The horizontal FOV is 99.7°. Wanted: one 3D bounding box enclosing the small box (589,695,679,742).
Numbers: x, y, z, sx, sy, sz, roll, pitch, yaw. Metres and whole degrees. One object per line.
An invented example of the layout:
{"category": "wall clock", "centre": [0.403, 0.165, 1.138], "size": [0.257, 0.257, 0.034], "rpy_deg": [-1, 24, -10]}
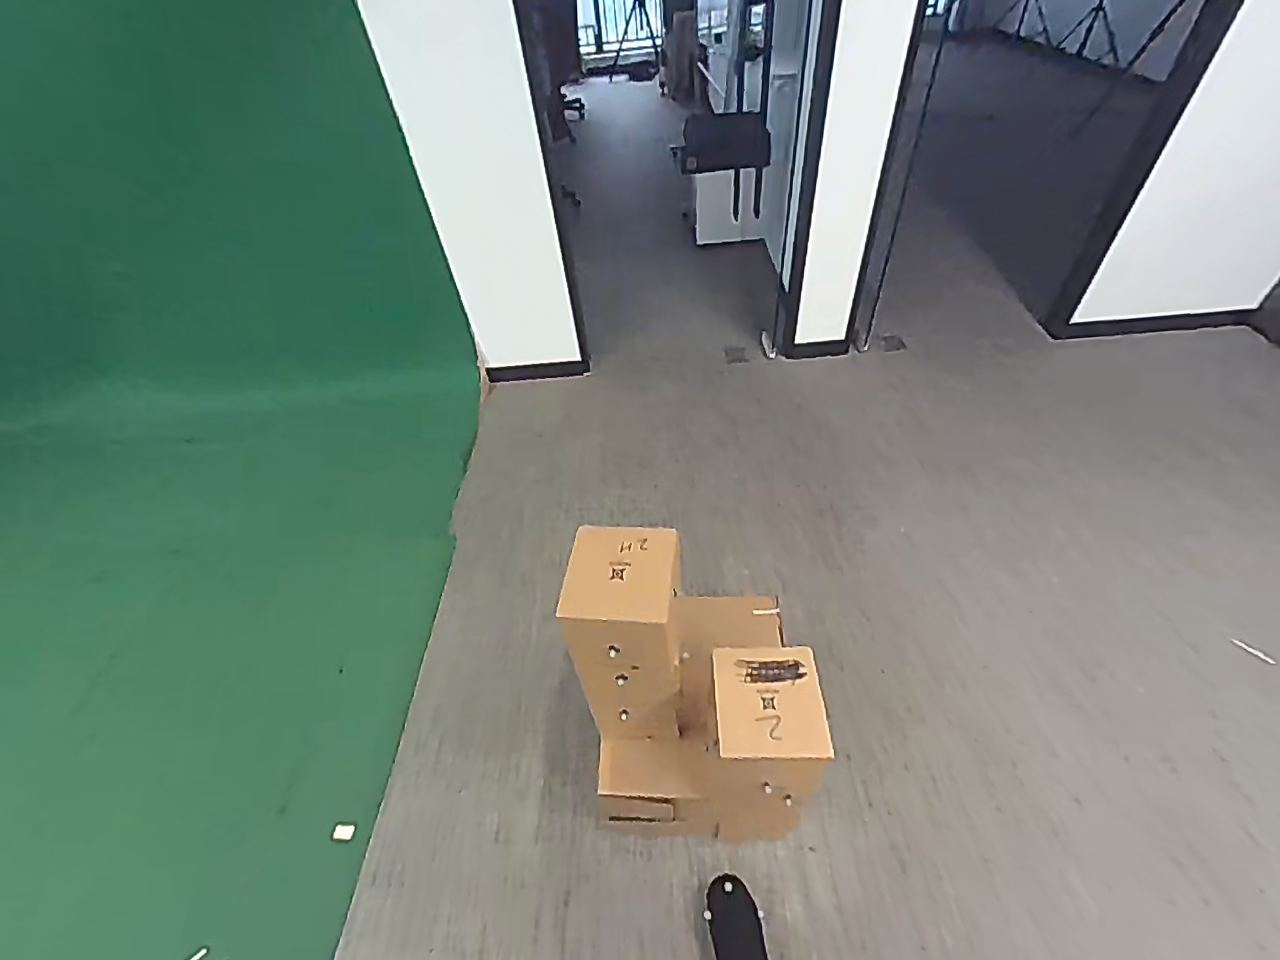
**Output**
{"category": "small box", "centre": [-0.005, 0.423, 1.125], "size": [0.168, 0.176, 0.179], "rpy_deg": [-2, 44, 5]}

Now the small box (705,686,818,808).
{"category": "small box", "centre": [0.217, 0.503, 1.018], "size": [0.179, 0.176, 0.168], "rpy_deg": [-3, 45, 3]}

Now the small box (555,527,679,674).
{"category": "small box", "centre": [-0.026, 0.198, 0.884], "size": [0.168, 0.176, 0.179], "rpy_deg": [2, 46, 9]}

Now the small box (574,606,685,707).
{"category": "small box", "centre": [-0.013, 0.307, 1.004], "size": [0.179, 0.176, 0.168], "rpy_deg": [-5, 45, 6]}
